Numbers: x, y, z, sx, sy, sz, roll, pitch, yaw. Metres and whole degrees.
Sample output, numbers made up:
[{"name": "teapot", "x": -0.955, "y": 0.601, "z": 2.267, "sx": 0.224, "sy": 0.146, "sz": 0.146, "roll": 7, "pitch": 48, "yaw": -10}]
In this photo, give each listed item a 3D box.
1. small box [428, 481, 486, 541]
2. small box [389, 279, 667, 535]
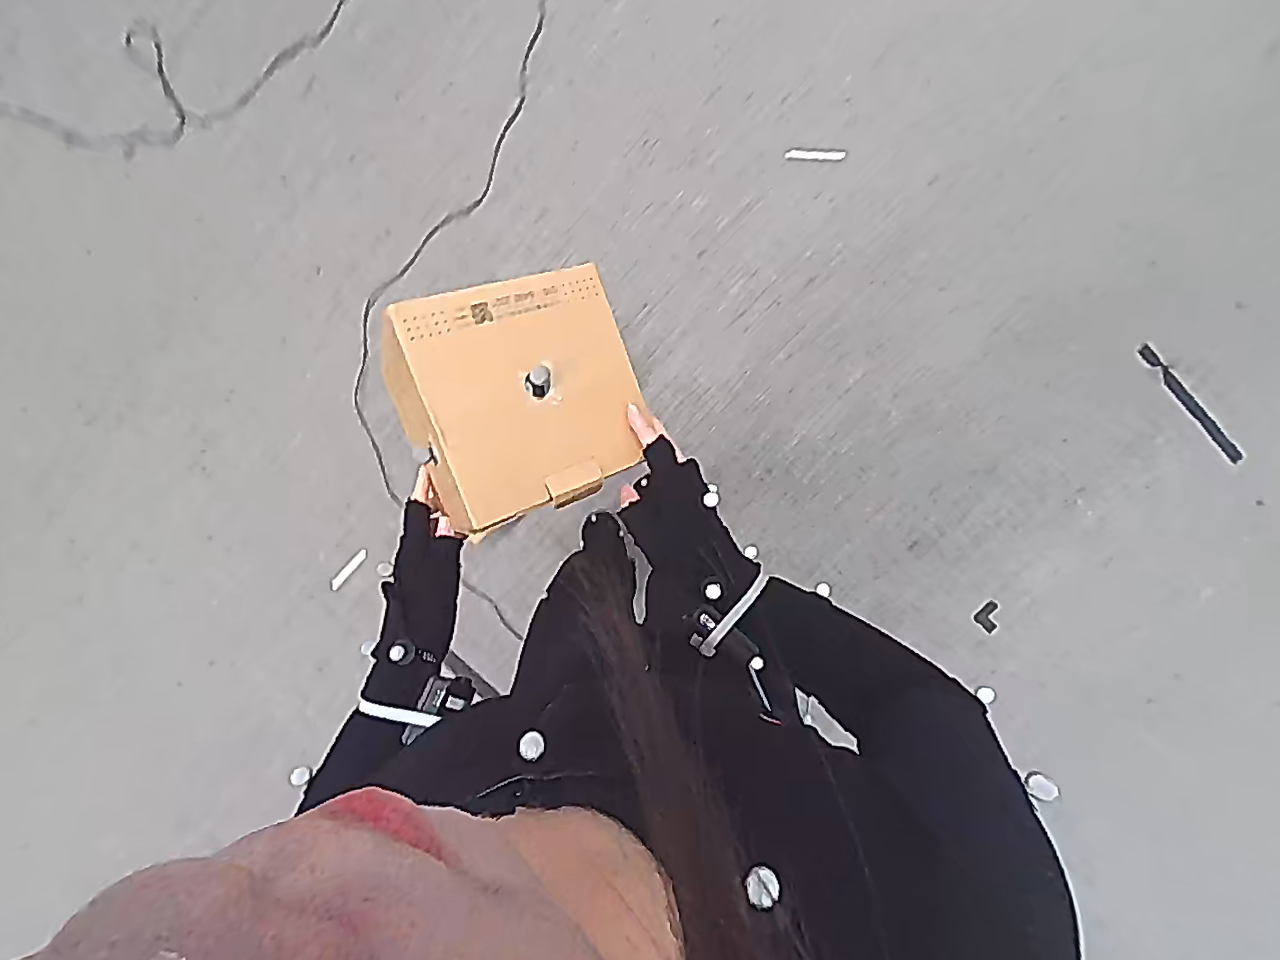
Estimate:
[{"name": "small box", "x": -0.389, "y": 0.023, "z": 1.363, "sx": 0.168, "sy": 0.176, "sz": 0.179, "roll": -44, "pitch": 95, "yaw": 7}, {"name": "small box", "x": -0.108, "y": -0.063, "z": 0.480, "sx": 0.168, "sy": 0.179, "sz": 0.176, "roll": -23, "pitch": 98, "yaw": -25}]
